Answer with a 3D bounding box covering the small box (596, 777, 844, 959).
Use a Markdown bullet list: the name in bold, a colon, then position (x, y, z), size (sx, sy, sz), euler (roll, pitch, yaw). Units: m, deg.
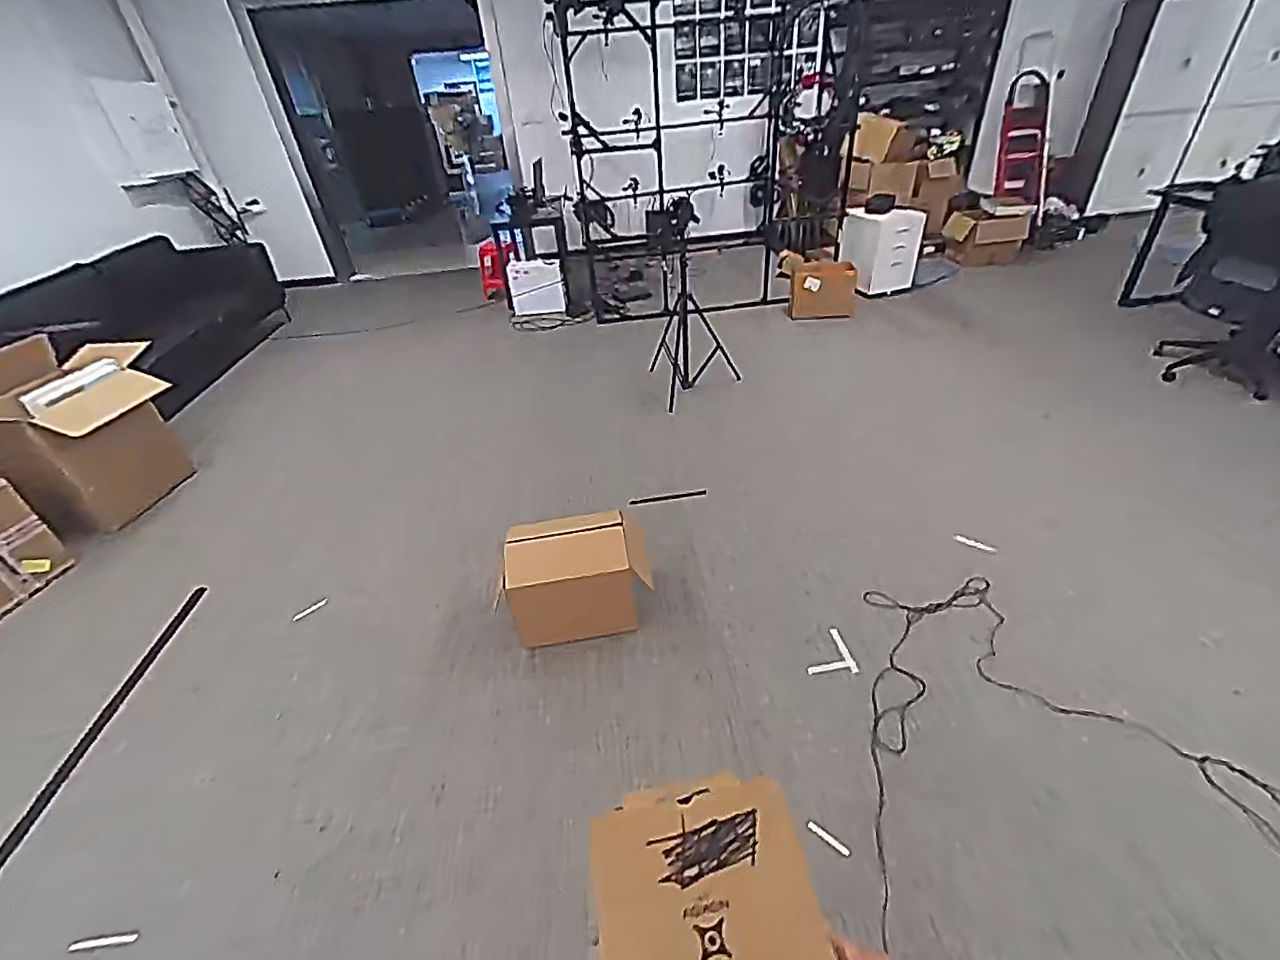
- **small box**: position (0.061, 0.377, 0.447), size (0.168, 0.176, 0.179), euler (-10, 48, -4)
